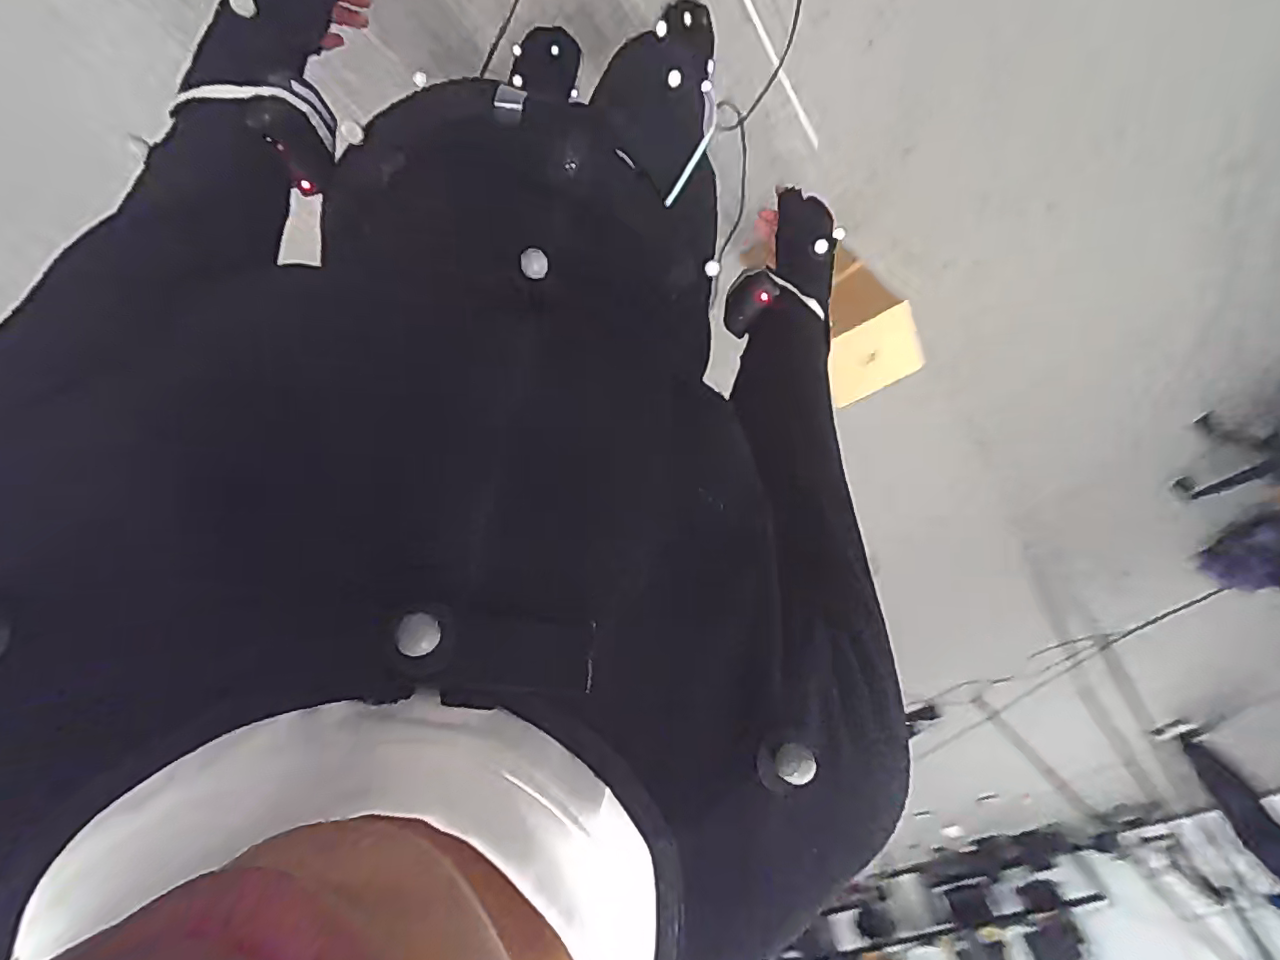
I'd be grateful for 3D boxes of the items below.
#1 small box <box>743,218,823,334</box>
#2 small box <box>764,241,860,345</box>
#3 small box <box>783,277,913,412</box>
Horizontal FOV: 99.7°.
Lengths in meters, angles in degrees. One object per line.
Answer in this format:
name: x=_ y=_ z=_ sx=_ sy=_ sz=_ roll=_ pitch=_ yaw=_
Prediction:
small box: x=0.368 y=-0.501 z=1.325 sx=0.179 sy=0.176 sz=0.168 roll=-30 pitch=130 yaw=20
small box: x=0.394 y=-0.392 z=1.205 sx=0.179 sy=0.176 sz=0.168 roll=-31 pitch=130 yaw=18
small box: x=0.416 y=-0.276 z=1.093 sx=0.179 sy=0.176 sz=0.168 roll=-26 pitch=131 yaw=16
